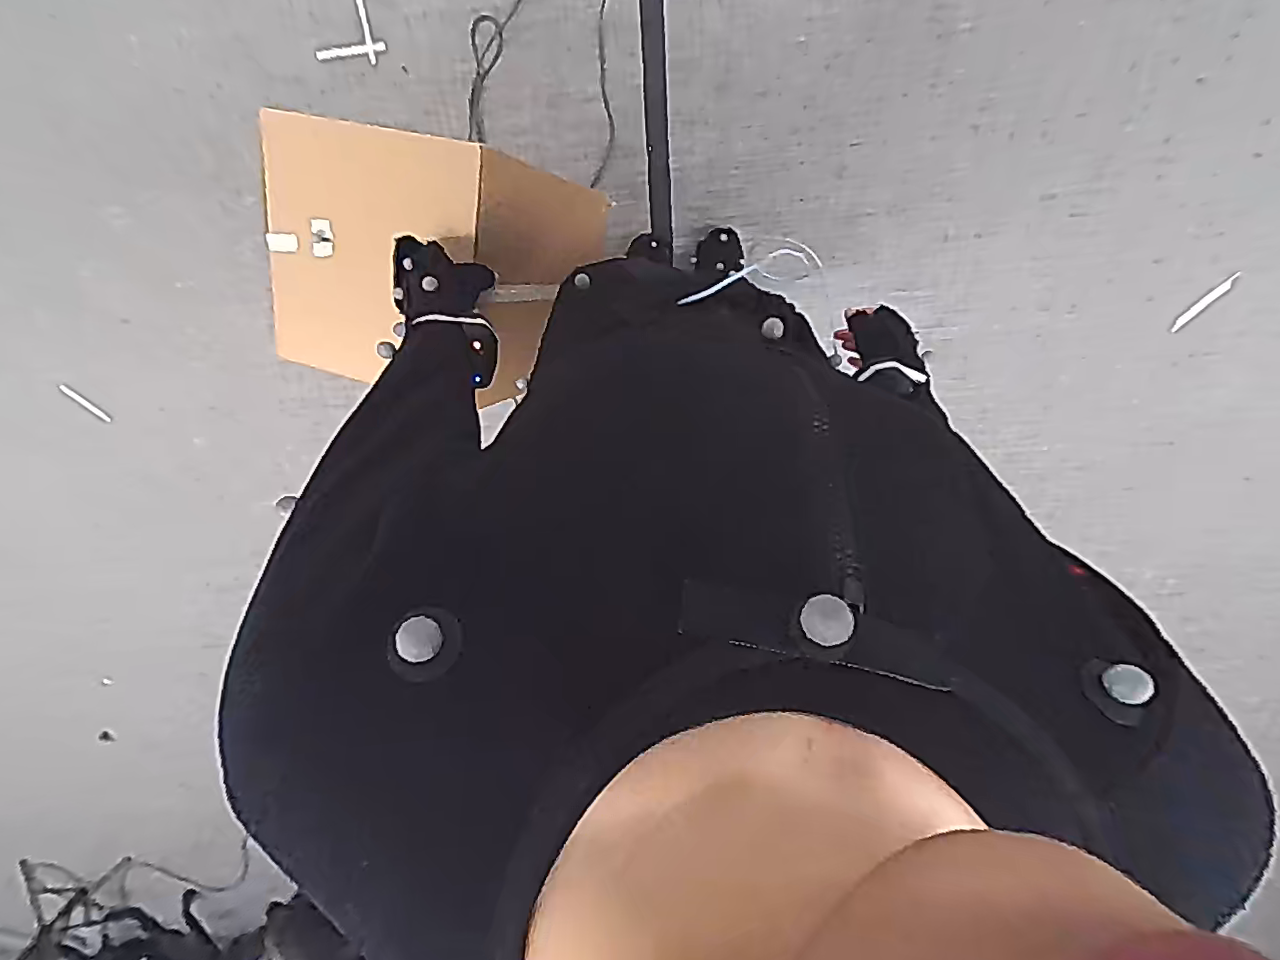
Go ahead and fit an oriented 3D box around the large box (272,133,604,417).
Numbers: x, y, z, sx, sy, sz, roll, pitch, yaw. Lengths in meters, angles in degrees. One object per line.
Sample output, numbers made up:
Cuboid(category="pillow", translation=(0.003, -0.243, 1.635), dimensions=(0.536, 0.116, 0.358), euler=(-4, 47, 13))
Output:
Cuboid(category="large box", translation=(-0.287, -0.327, 0.873), dimensions=(0.320, 0.408, 0.320), euler=(17, 114, 11))
